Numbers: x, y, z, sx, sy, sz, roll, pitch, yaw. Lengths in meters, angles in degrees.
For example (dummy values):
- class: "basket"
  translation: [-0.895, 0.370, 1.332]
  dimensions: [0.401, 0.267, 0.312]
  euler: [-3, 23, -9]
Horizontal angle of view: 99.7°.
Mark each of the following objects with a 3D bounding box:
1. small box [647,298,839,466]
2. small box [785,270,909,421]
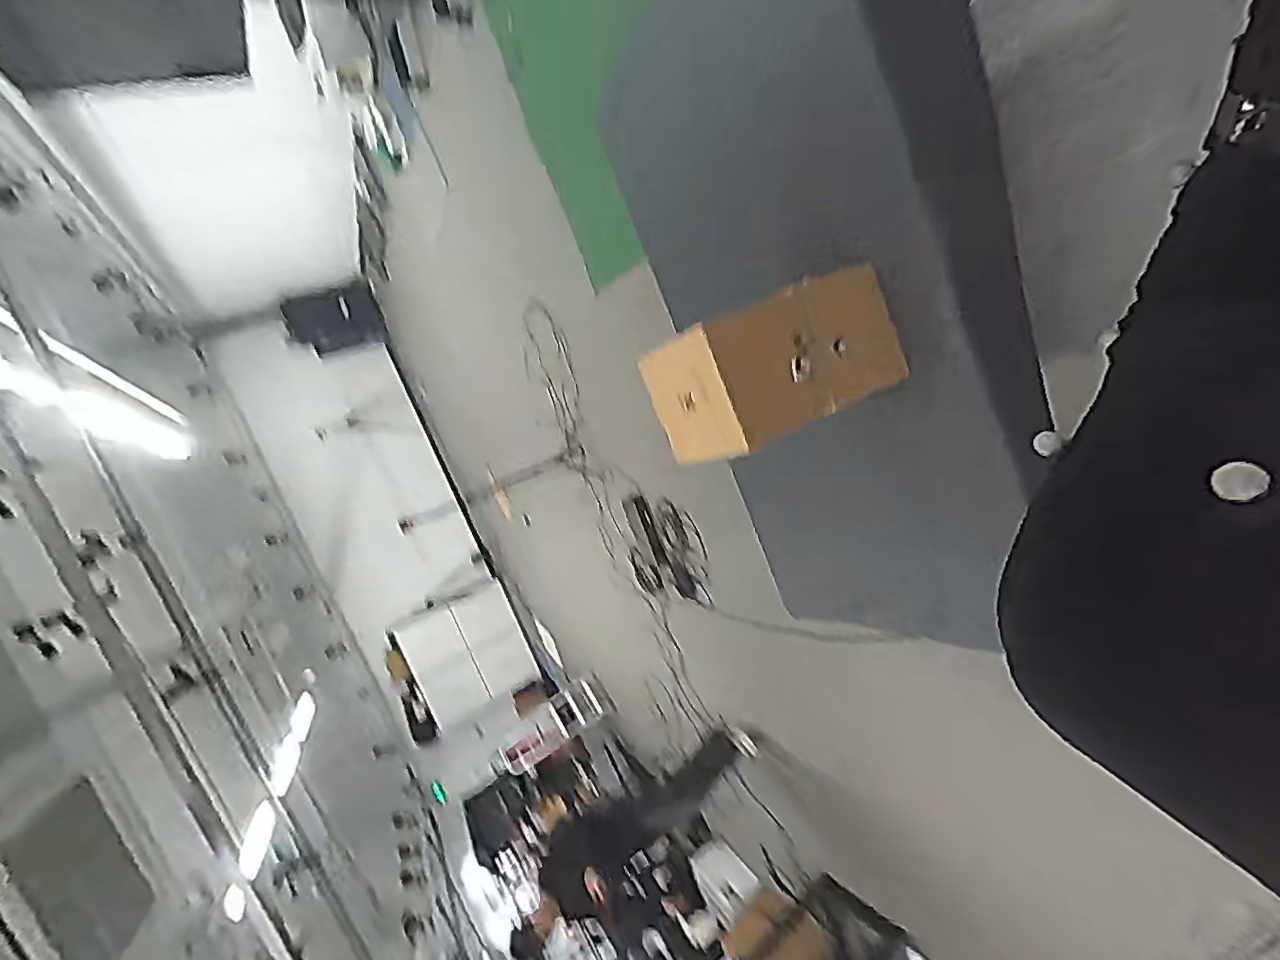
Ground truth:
- class: "small box"
  translation: [0.144, -0.134, 0.768]
  dimensions: [0.179, 0.176, 0.168]
  euler: [-12, 103, 63]
- class: "small box"
  translation: [0.278, -0.195, 0.834]
  dimensions: [0.168, 0.176, 0.179]
  euler: [-14, 100, 64]
